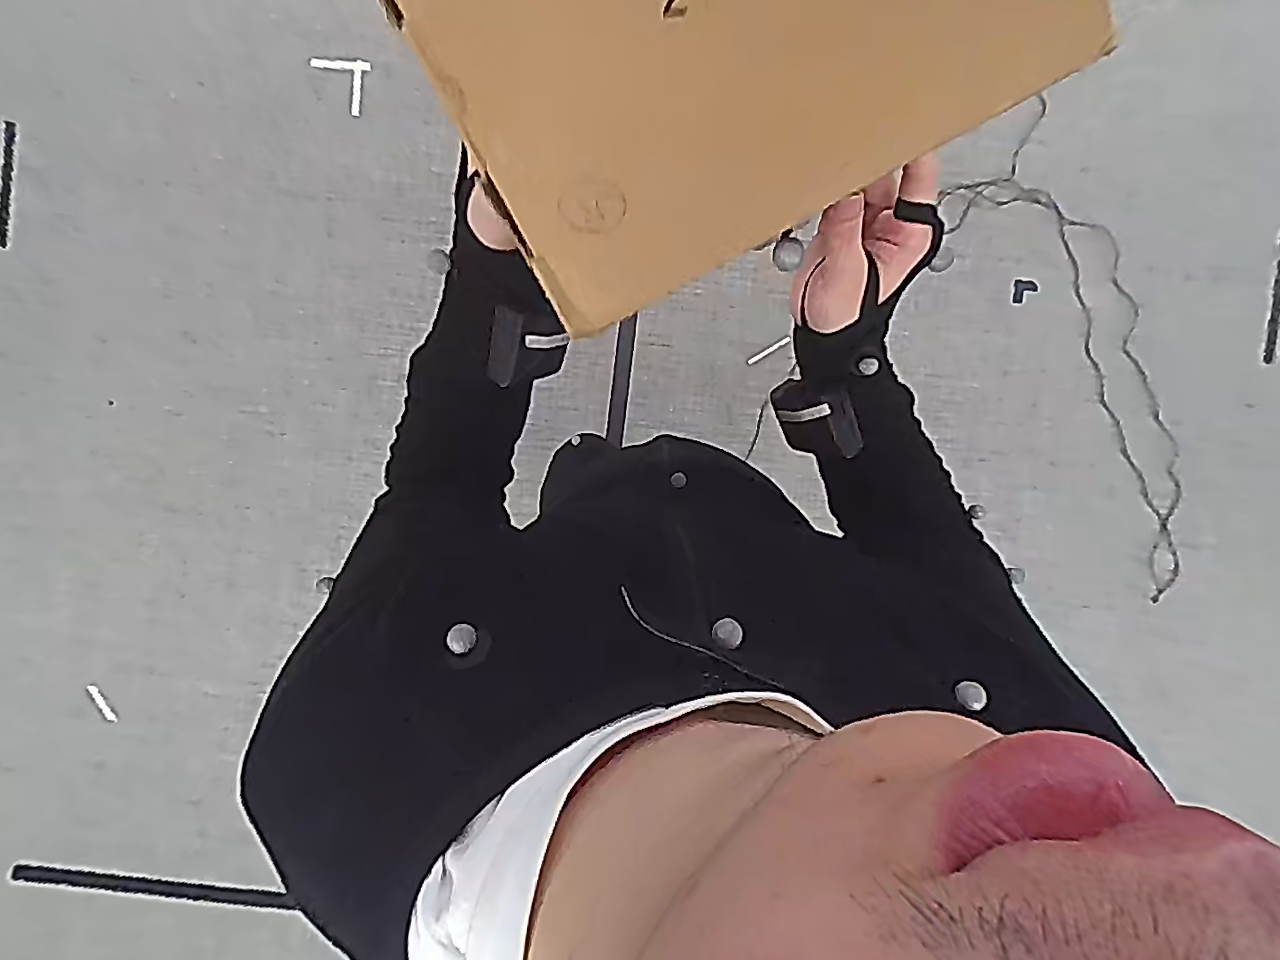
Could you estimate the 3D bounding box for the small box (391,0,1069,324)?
[{"bbox_3d":[0.022,-0.187,0.232,0.179,0.176,0.168,-26,107,14],"label":"small box"}]
